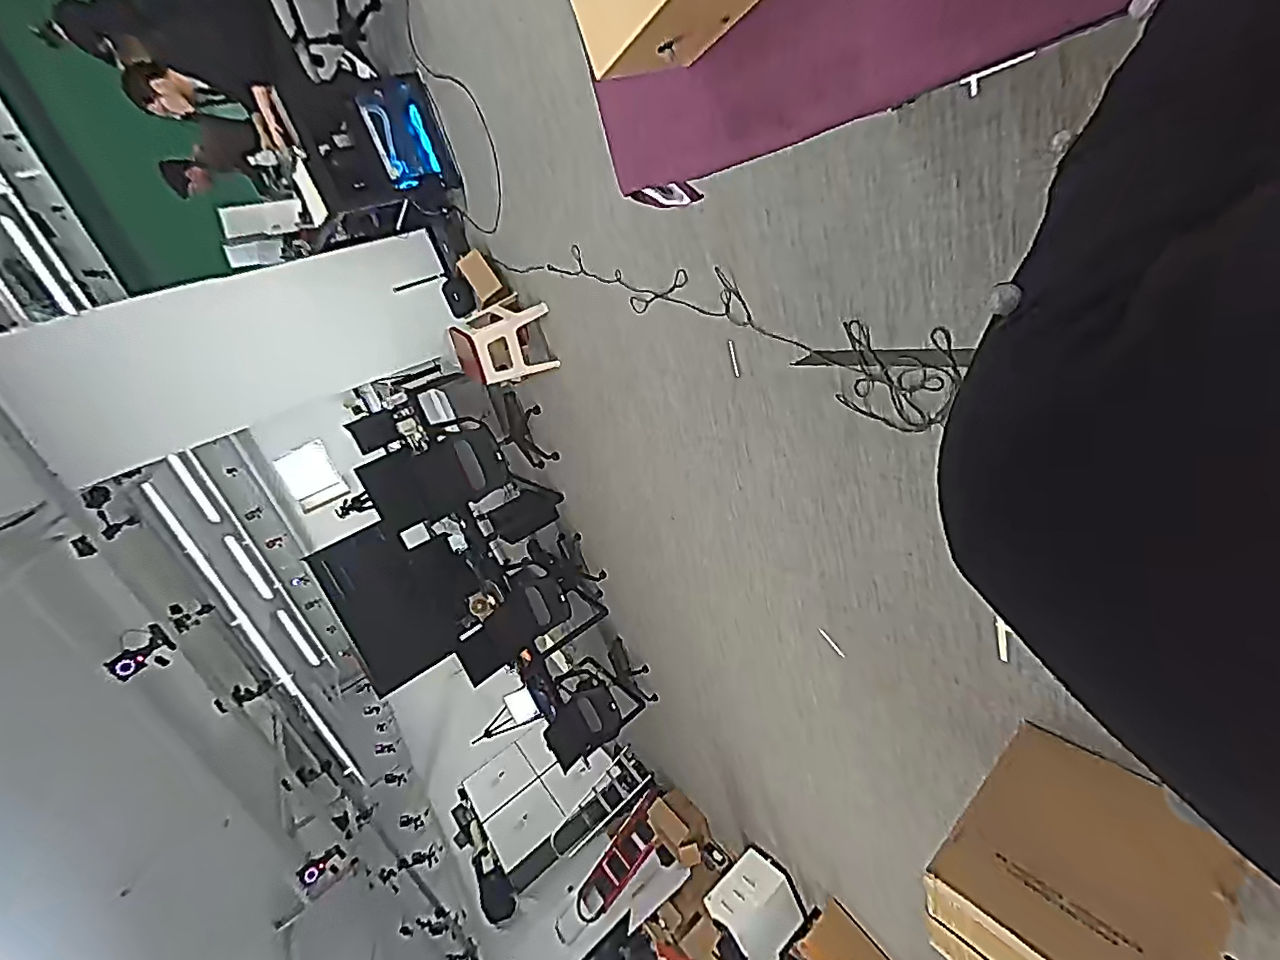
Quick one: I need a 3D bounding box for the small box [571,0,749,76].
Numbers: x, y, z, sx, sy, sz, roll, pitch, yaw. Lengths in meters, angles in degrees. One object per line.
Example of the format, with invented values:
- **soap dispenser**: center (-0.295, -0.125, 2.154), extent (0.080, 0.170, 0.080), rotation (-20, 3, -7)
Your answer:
- **small box**: center (0.021, -0.627, 0.639), extent (0.168, 0.176, 0.179), rotation (7, 123, 58)
